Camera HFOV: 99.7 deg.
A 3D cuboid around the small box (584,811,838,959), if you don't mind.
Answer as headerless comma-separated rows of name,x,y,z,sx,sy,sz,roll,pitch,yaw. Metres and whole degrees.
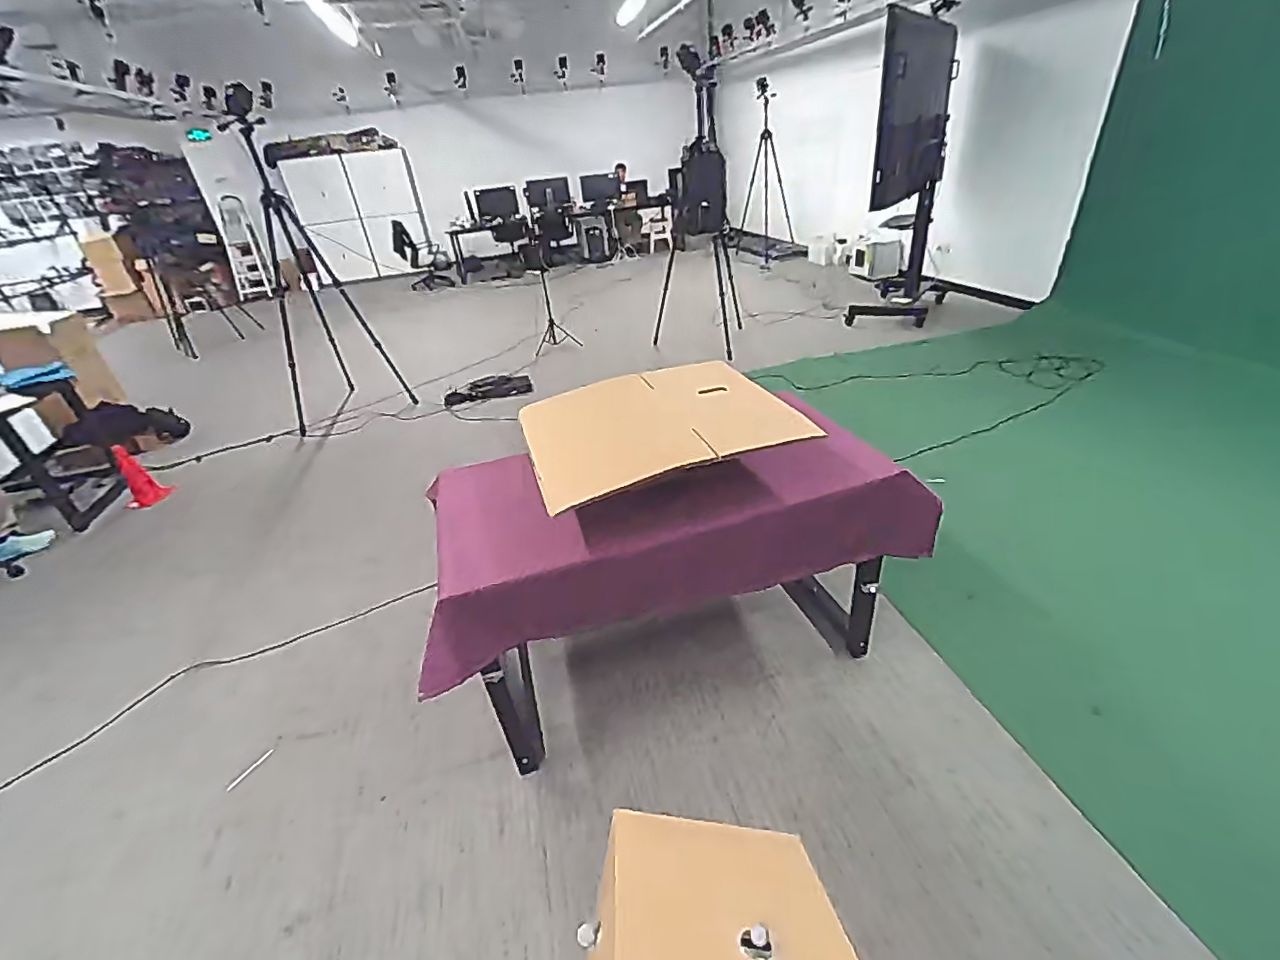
small box,0.050,0.399,0.428,0.179,0.168,0.176,10,3,-3
